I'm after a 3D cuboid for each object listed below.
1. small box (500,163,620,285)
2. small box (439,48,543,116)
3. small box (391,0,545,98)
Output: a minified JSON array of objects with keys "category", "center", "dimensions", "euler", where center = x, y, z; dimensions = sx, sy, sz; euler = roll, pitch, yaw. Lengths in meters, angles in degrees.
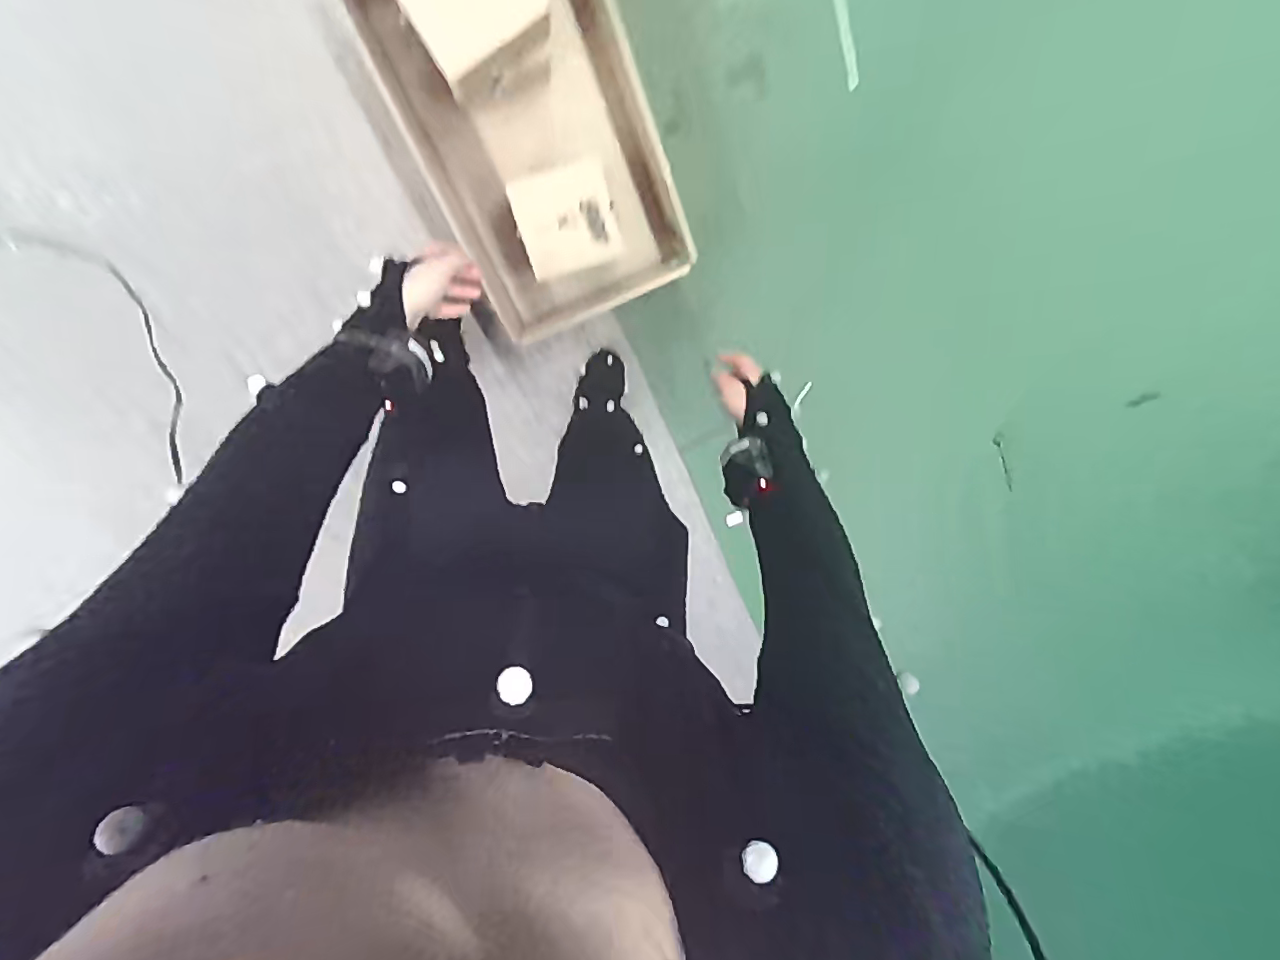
[{"category":"small box","center":[-0.150,-0.490,1.036],"dimensions":[0.179,0.176,0.168],"euler":[-17,117,1]},{"category":"small box","center":[-0.270,-0.738,0.892],"dimensions":[0.168,0.176,0.179],"euler":[-22,117,3]},{"category":"small box","center":[-0.248,-0.669,0.745],"dimensions":[0.168,0.176,0.179],"euler":[-31,119,8]}]
